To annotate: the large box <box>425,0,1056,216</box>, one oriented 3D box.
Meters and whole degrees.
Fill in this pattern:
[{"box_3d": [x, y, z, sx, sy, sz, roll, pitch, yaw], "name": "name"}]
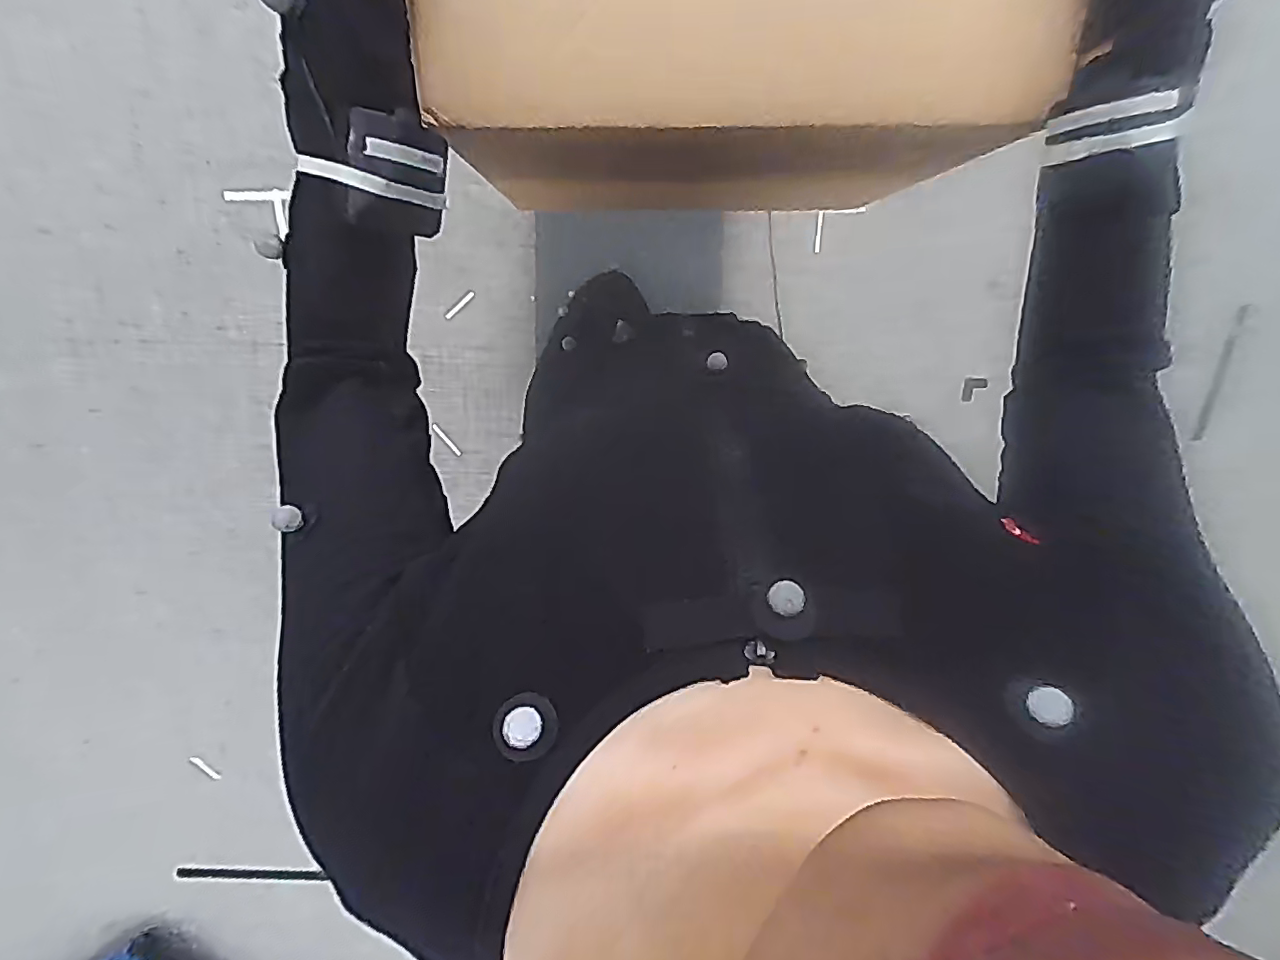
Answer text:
[{"box_3d": [0.056, -0.422, 0.453, 0.408, 0.320, 0.320, -2, 108, -2], "name": "large box"}]
